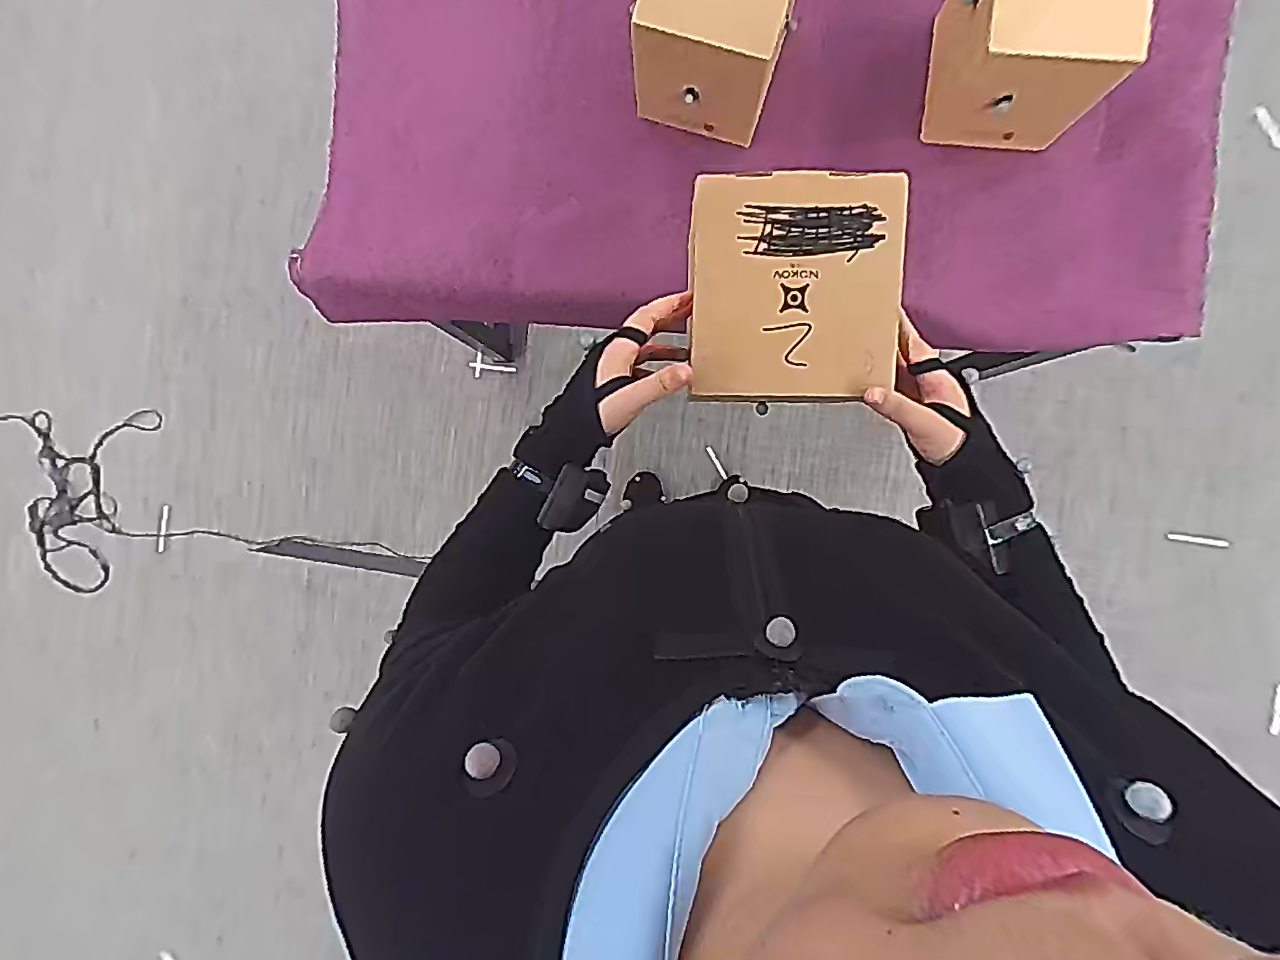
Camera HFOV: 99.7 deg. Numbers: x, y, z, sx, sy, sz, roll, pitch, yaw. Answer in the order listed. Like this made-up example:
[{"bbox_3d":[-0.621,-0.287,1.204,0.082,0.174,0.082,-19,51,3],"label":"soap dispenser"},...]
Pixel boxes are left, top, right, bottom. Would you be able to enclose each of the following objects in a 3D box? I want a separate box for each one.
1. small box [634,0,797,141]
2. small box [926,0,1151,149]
[{"bbox_3d":[0.101,-0.576,0.684,0.168,0.176,0.179,18,92,2],"label":"small box"},{"bbox_3d":[0.477,-0.544,0.666,0.168,0.176,0.179,7,90,4],"label":"small box"}]
